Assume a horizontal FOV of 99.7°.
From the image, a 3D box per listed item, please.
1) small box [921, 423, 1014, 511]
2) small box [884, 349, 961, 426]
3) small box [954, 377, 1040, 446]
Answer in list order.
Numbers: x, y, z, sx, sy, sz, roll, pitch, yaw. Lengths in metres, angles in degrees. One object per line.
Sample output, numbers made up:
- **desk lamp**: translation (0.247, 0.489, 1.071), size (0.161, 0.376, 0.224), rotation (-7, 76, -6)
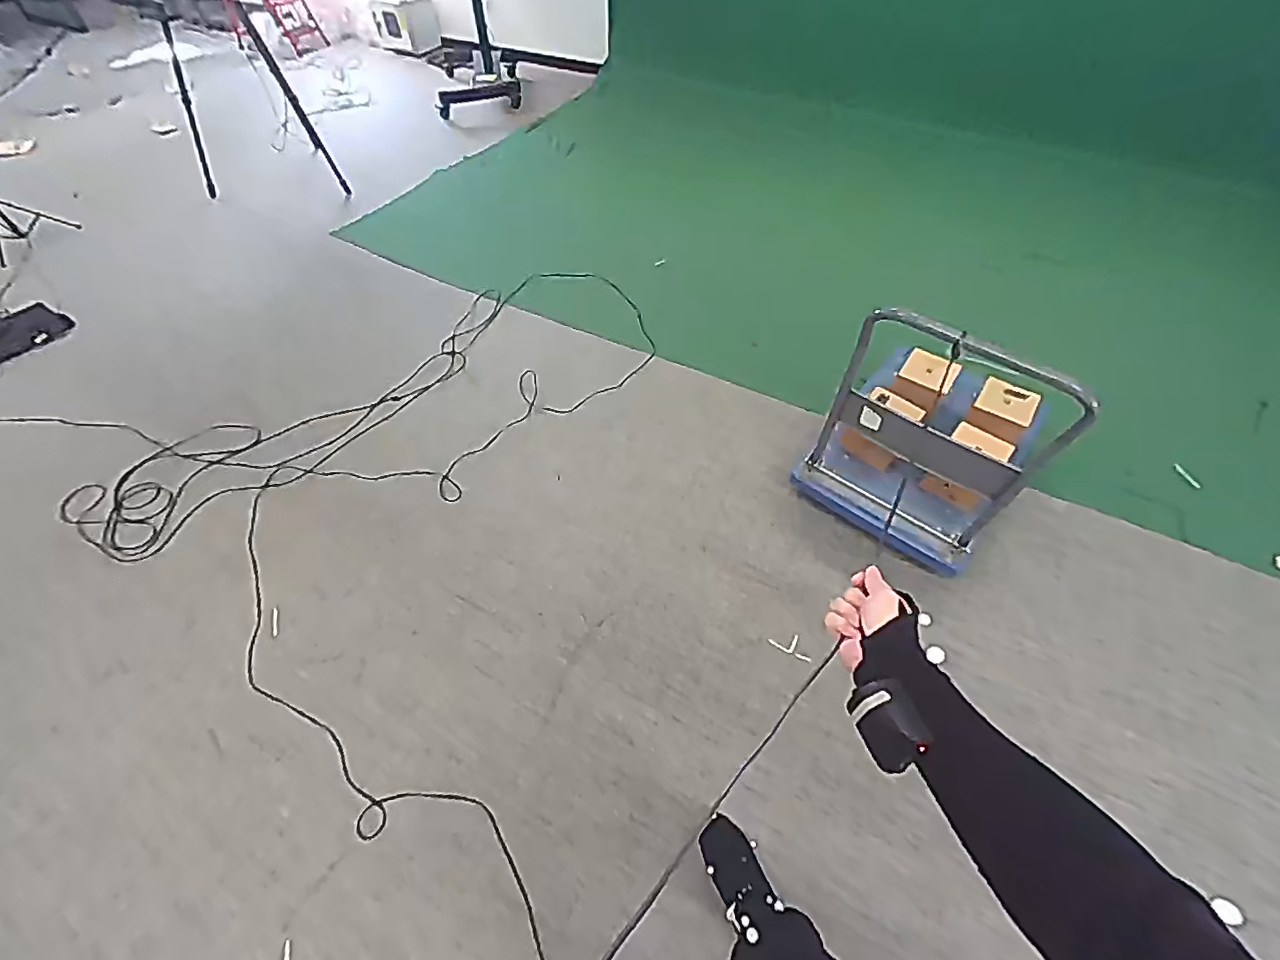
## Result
- **small box**: translation (1.017, -0.039, 1.691), size (0.168, 0.176, 0.179), rotation (34, 61, 24)
- **small box**: translation (0.988, -0.323, 1.906), size (0.168, 0.176, 0.179), rotation (31, 59, 21)
- **small box**: translation (1.191, -0.206, 1.814), size (0.168, 0.176, 0.179), rotation (30, 60, 22)
